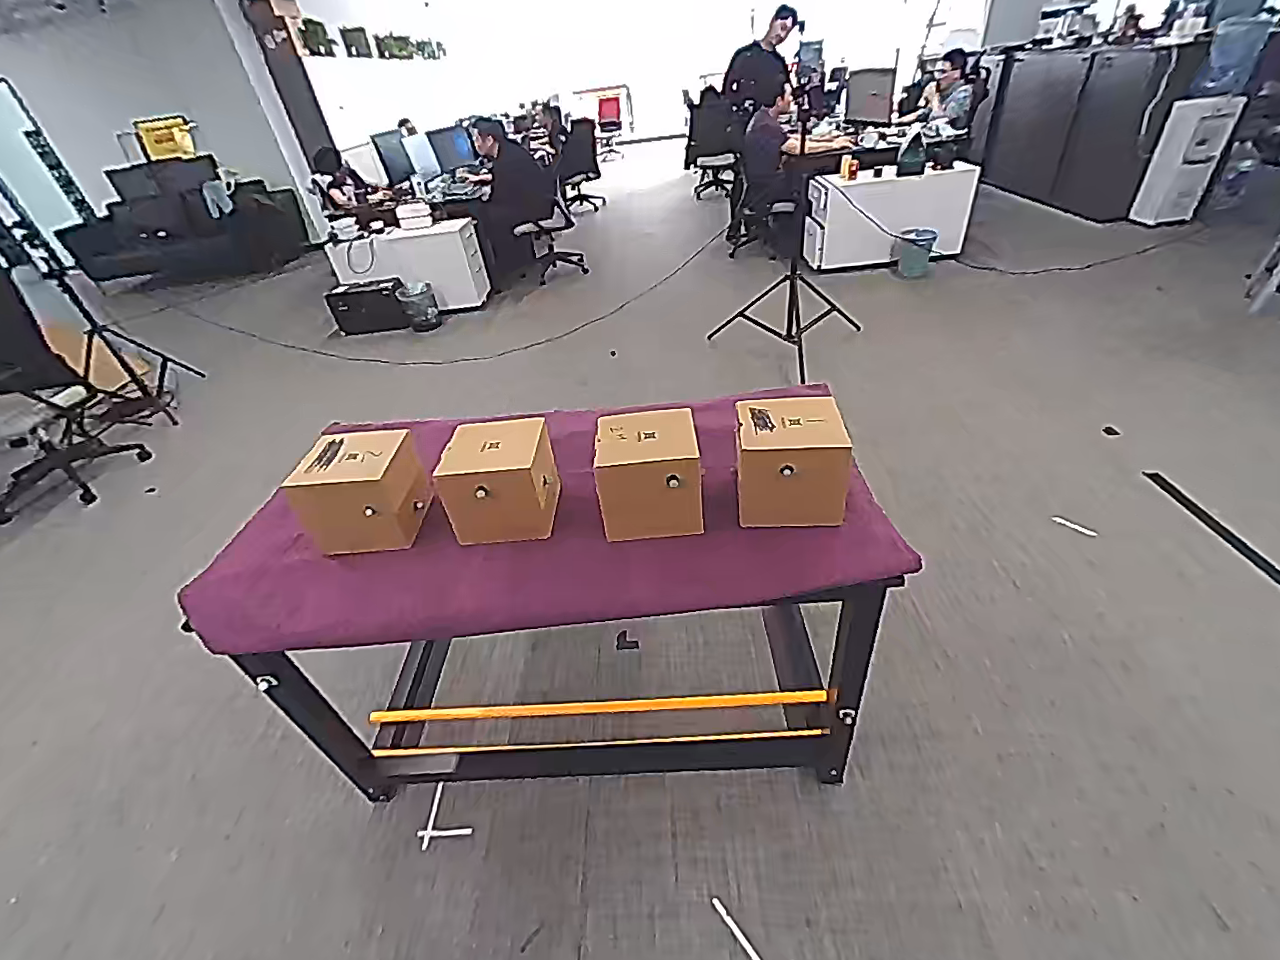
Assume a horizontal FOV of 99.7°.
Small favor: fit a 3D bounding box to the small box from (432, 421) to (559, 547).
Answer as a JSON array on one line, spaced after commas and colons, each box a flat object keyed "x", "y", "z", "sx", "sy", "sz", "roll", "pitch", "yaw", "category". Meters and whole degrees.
[{"x": -0.260, "y": 0.009, "z": 1.023, "sx": 0.179, "sy": 0.176, "sz": 0.168, "roll": -6, "pitch": 37, "yaw": 4, "category": "small box"}]

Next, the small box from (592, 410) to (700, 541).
[{"x": 0.015, "y": -0.007, "z": 0.983, "sx": 0.179, "sy": 0.176, "sz": 0.168, "roll": -6, "pitch": 35, "yaw": 4, "category": "small box"}]

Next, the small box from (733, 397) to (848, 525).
[{"x": 0.259, "y": -0.032, "z": 0.967, "sx": 0.179, "sy": 0.176, "sz": 0.168, "roll": -2, "pitch": 36, "yaw": 8, "category": "small box"}]
